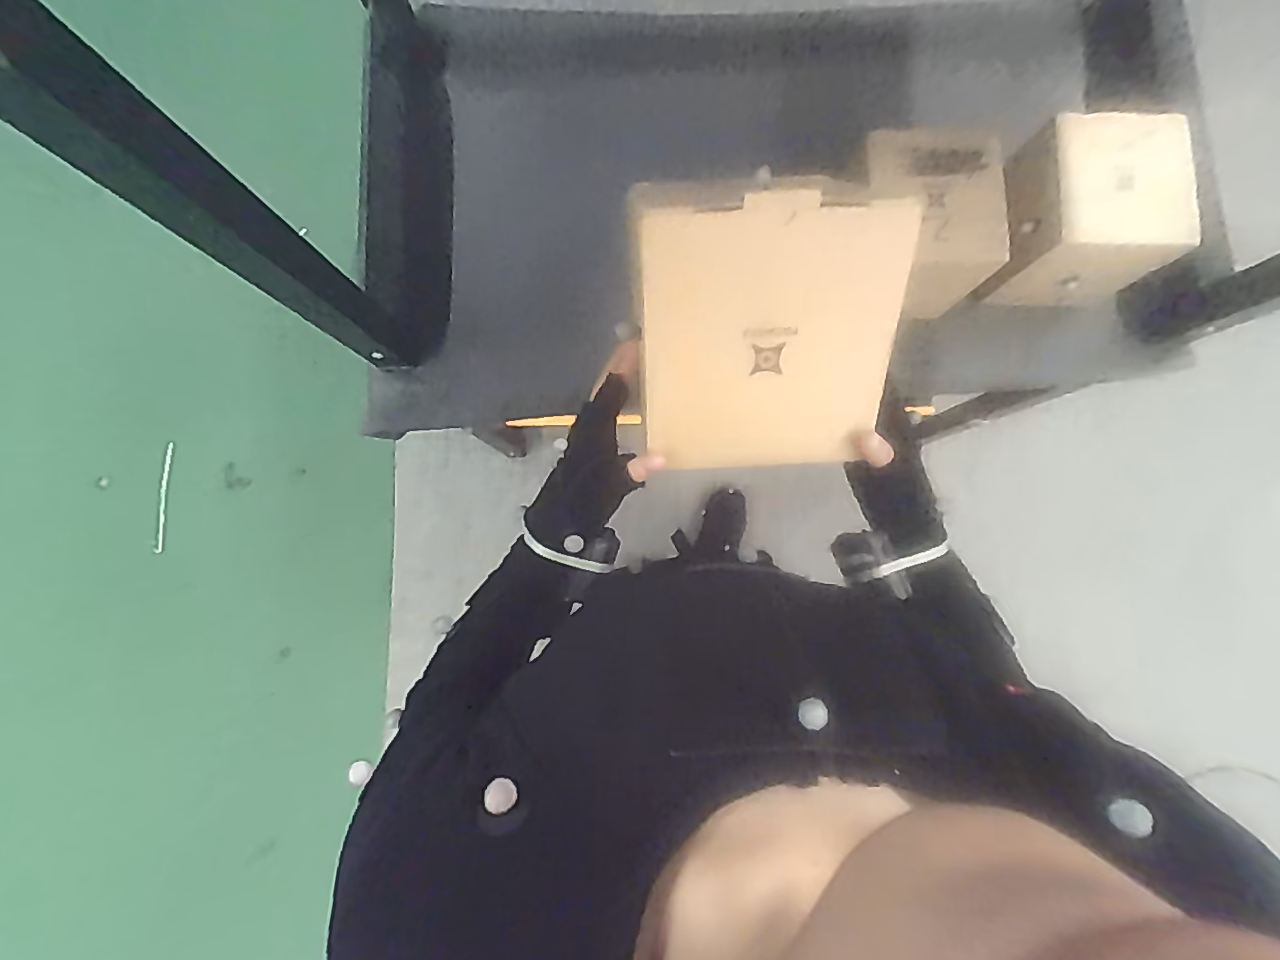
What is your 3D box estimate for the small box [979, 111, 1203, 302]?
[{"bbox_3d":[0.593,-0.358,0.735,0.168,0.176,0.179,2,82,1],"label":"small box"}]
